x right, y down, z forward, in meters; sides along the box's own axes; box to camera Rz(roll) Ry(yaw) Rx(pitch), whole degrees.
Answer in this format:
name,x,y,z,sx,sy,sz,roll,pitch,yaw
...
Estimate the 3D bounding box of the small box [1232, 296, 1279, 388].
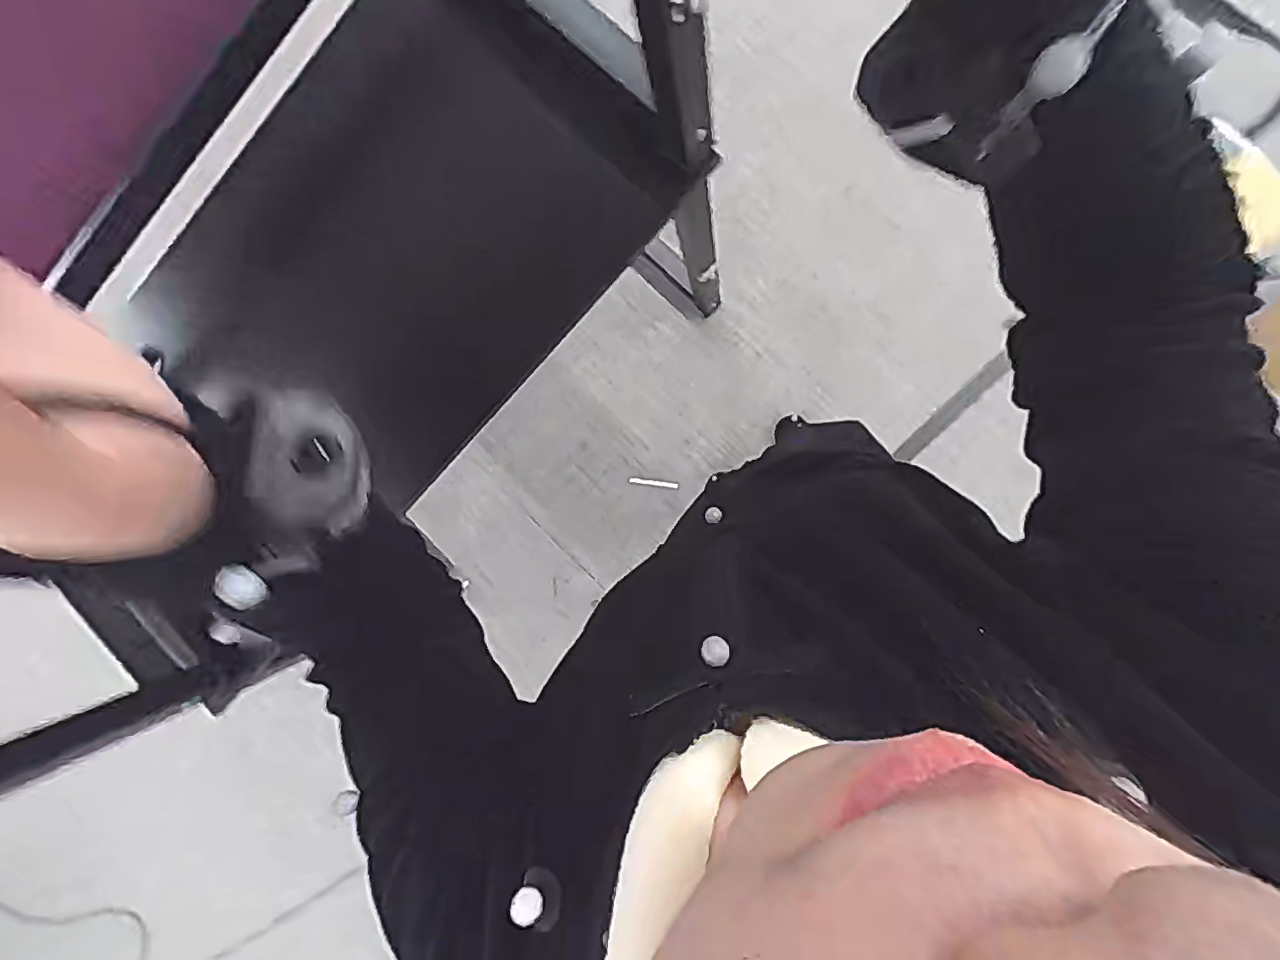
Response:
name,x,y,z,sx,sy,sz,roll,pitch,yaw
small box,1.479,-0.322,1.184,0.179,0.176,0.168,-40,86,8
